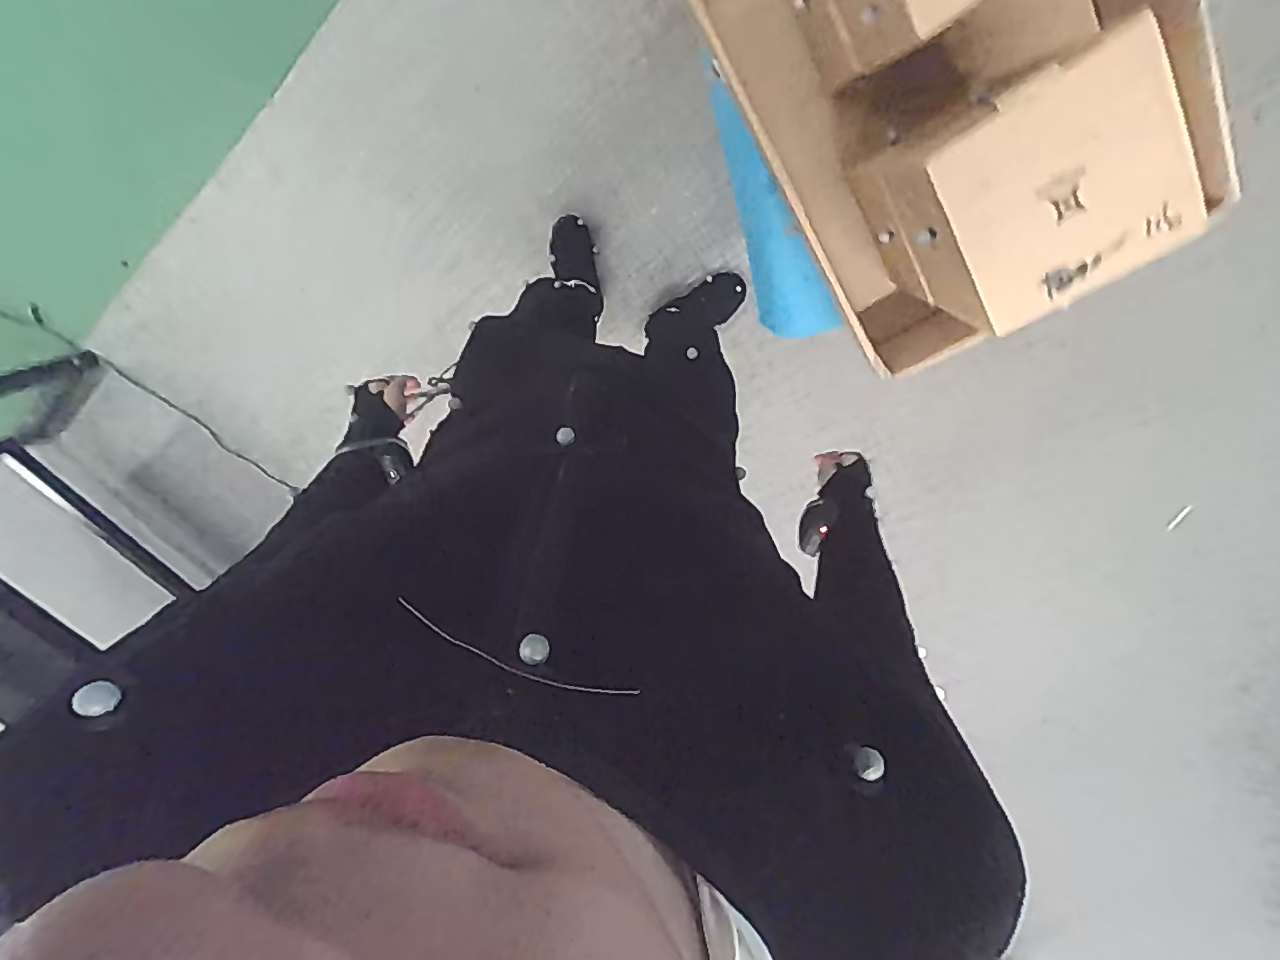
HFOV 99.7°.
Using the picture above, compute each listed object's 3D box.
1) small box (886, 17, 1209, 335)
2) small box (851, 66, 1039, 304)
[{"bbox_3d":[0.359,-0.267,0.512,0.168,0.176,0.179,-28,109,22],"label":"small box"},{"bbox_3d":[0.378,-0.344,0.656,0.168,0.176,0.179,-27,111,21],"label":"small box"}]
